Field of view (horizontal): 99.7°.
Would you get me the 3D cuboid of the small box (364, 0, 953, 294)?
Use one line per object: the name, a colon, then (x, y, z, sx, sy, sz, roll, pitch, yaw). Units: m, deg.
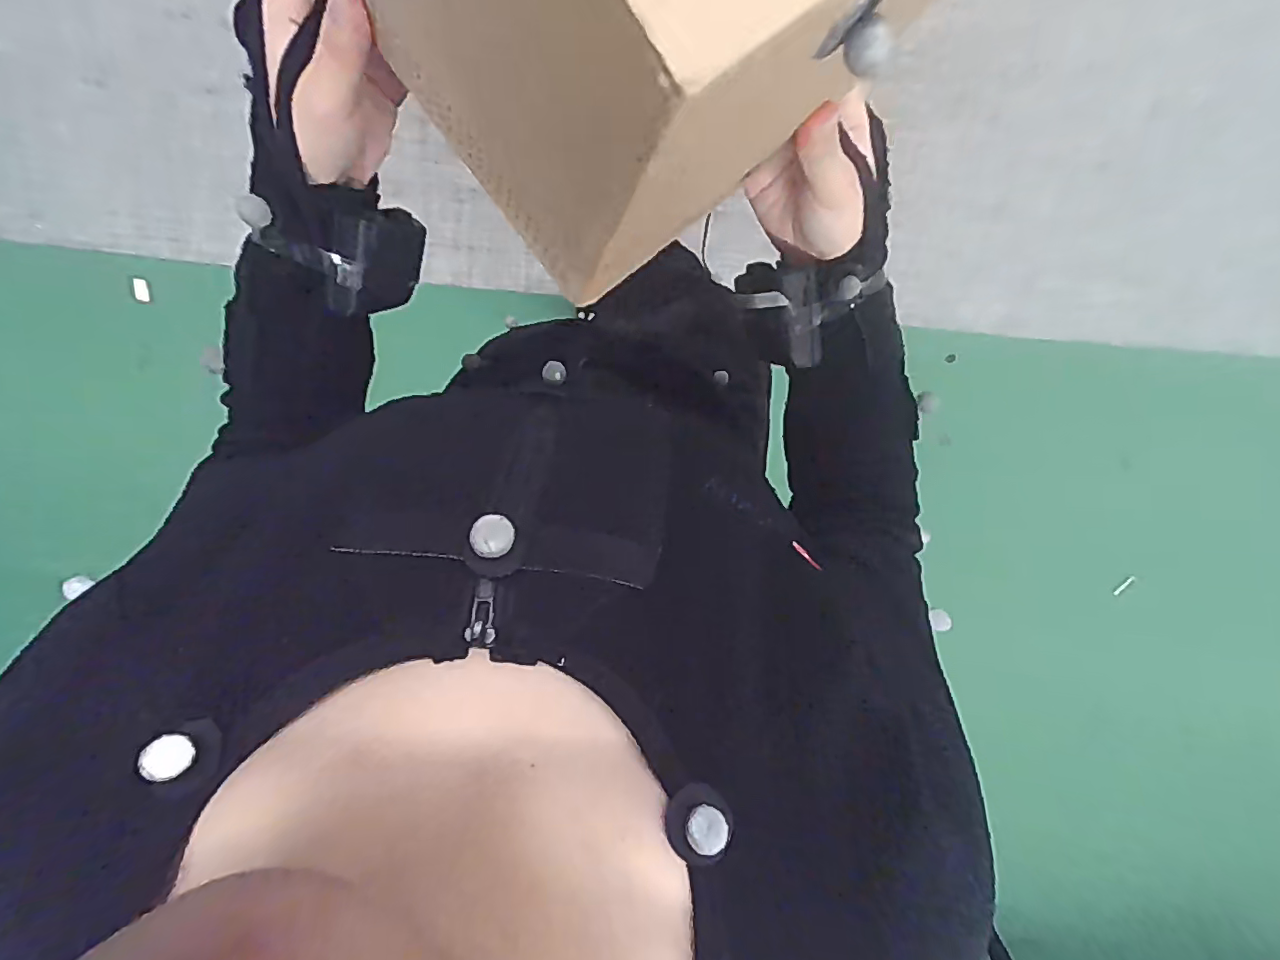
small box: (0.003, -0.197, 0.188, 0.168, 0.176, 0.179, -41, 101, -7)
